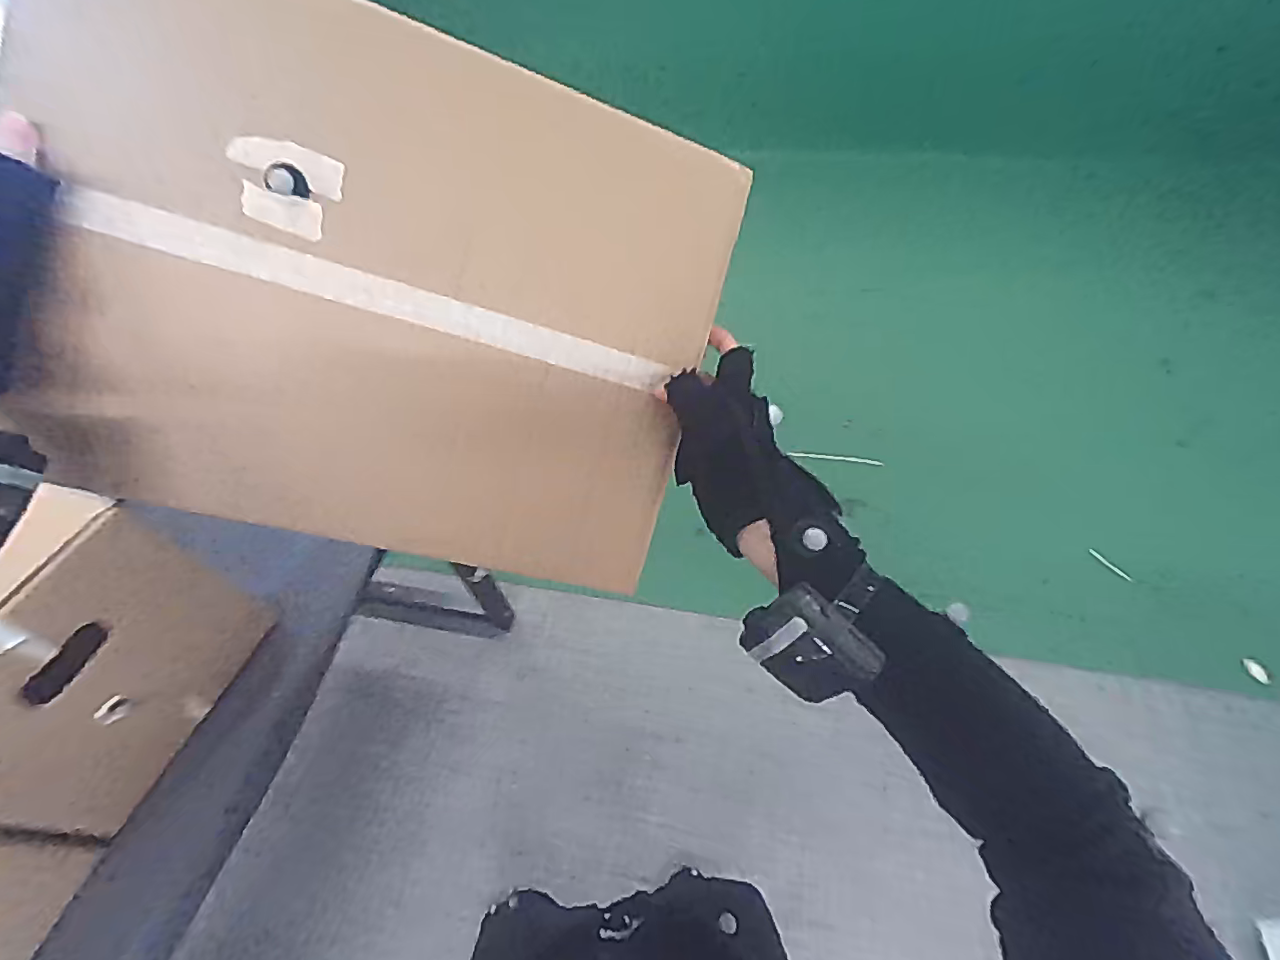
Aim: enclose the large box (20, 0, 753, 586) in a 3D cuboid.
[{"bbox_3d":[-0.173,-0.133,0.495,0.408,0.320,0.320,15,6,-13],"label":"large box"}]
